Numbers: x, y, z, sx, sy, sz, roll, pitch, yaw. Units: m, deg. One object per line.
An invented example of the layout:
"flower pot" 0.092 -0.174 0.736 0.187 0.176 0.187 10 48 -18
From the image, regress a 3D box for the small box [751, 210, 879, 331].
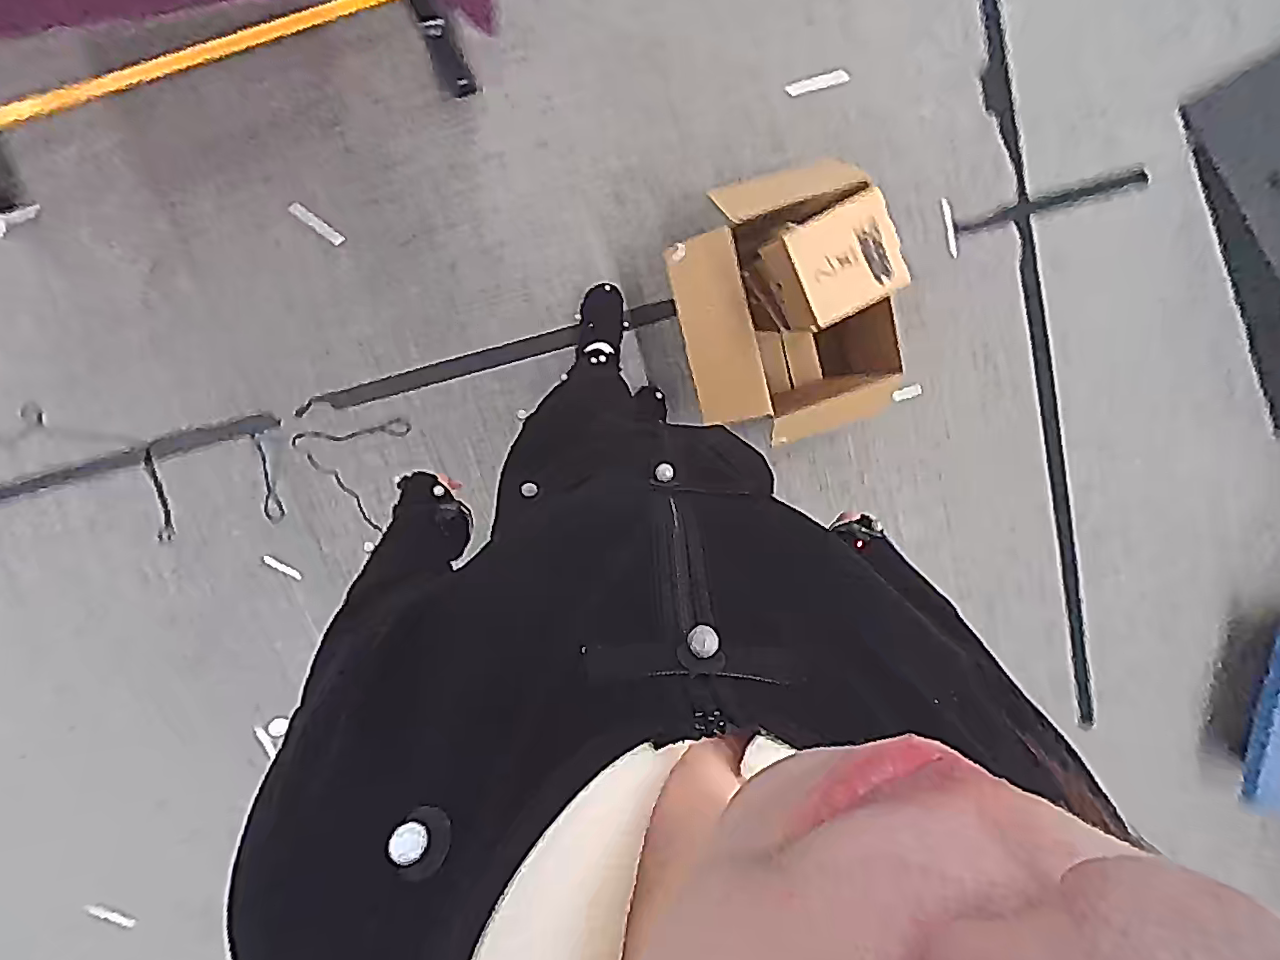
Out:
"small box" 0.362 -0.433 1.153 0.168 0.176 0.179 -36 105 7
